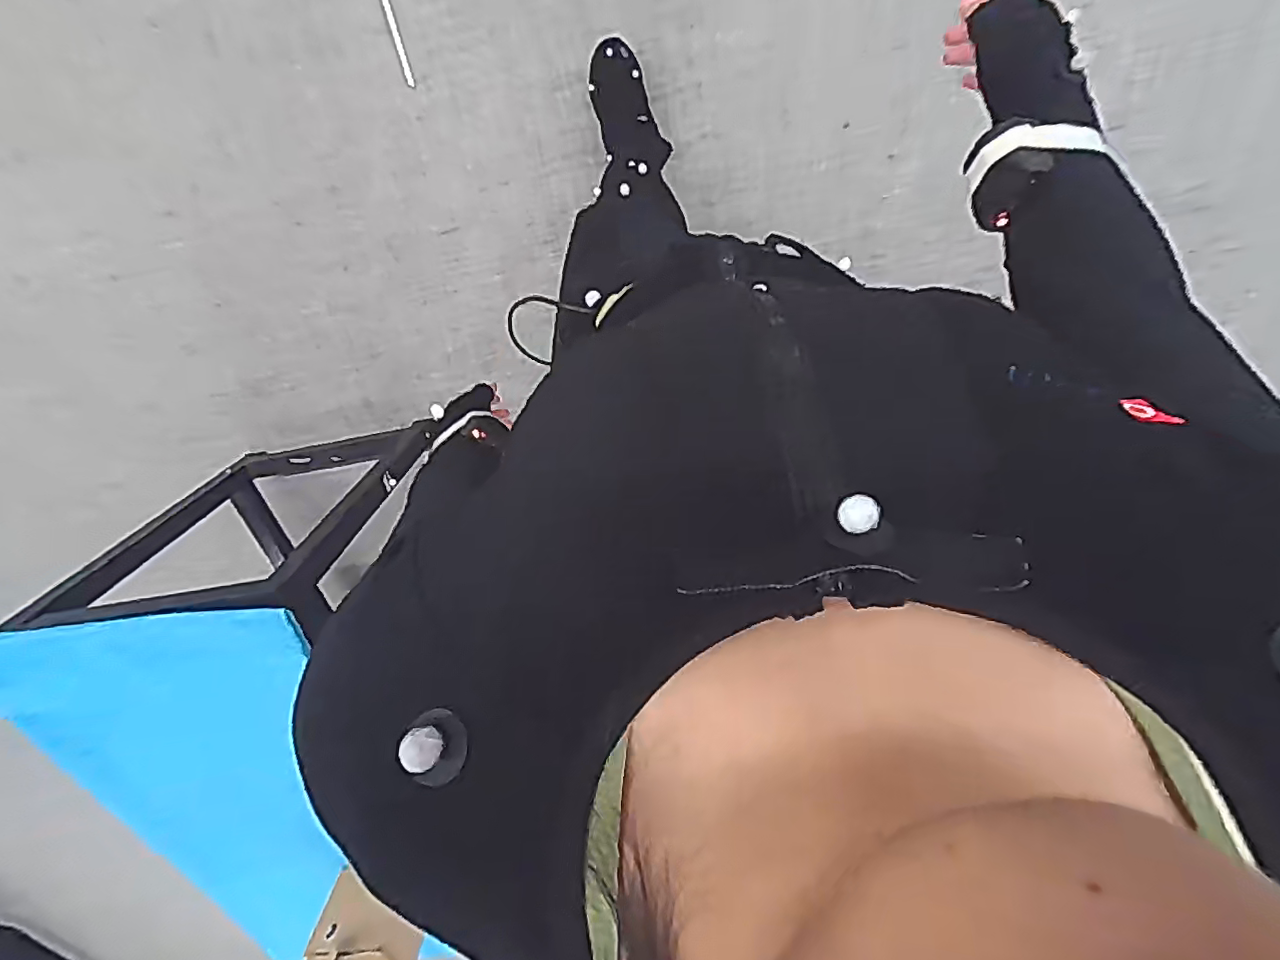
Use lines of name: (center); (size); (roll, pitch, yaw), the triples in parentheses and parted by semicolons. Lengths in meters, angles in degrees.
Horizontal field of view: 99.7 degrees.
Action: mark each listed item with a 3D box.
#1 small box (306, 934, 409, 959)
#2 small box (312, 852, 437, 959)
small box: (-0.593, 1.071, 1.100); (0.168, 0.176, 0.179); (-8, 118, 6)
small box: (-0.601, 0.994, 1.248); (0.179, 0.176, 0.168); (-8, 120, 4)
